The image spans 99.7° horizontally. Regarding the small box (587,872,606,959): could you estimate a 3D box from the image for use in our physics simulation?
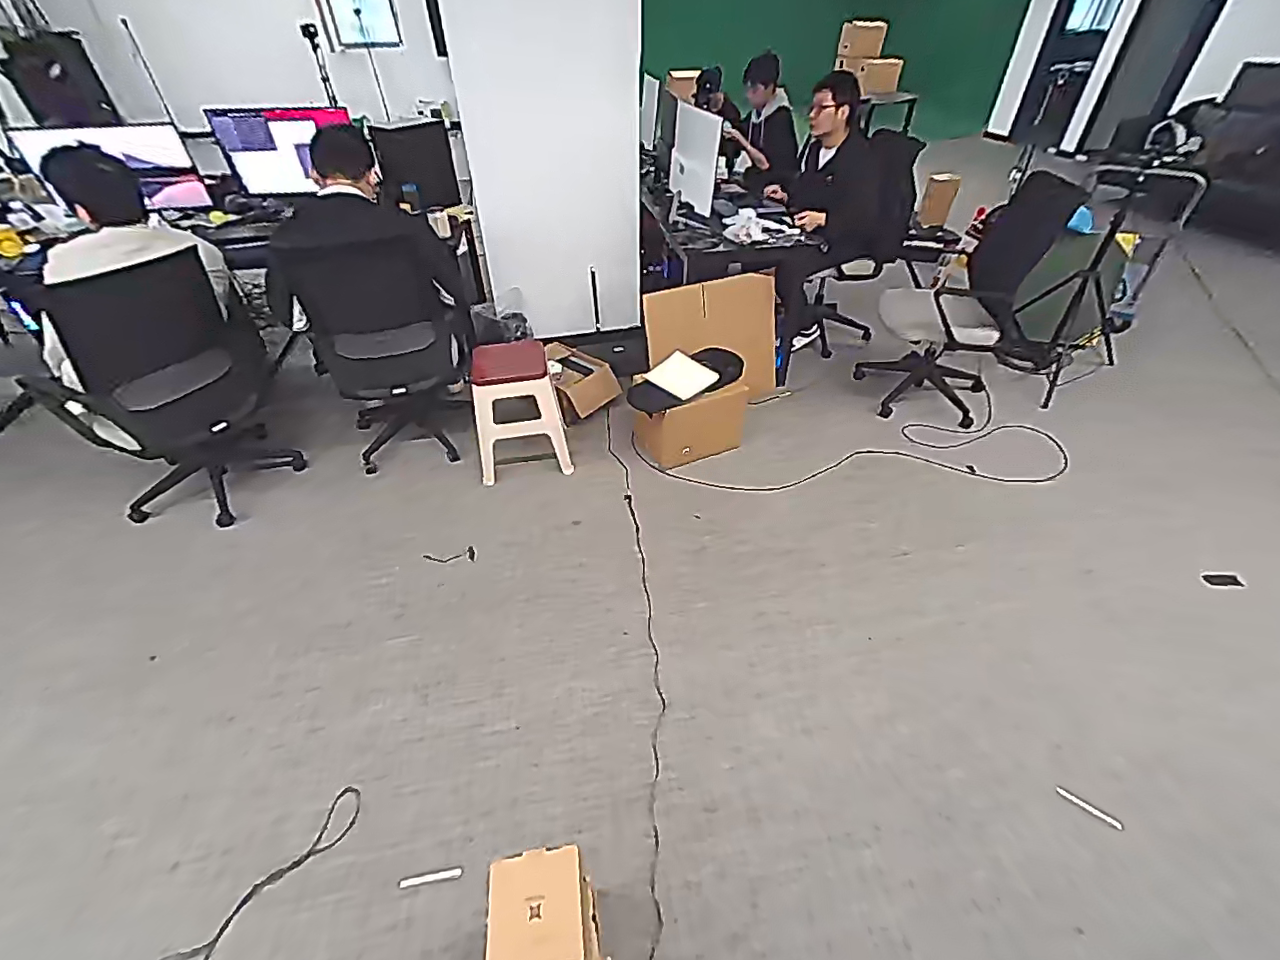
[{"bbox_3d":[-0.166,0.939,1.108,0.179,0.176,0.168,-10,42,-7],"label":"small box"}]

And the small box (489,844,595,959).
[{"bbox_3d":[-0.177,0.815,1.004,0.168,0.176,0.179,-9,42,-5],"label":"small box"}]
